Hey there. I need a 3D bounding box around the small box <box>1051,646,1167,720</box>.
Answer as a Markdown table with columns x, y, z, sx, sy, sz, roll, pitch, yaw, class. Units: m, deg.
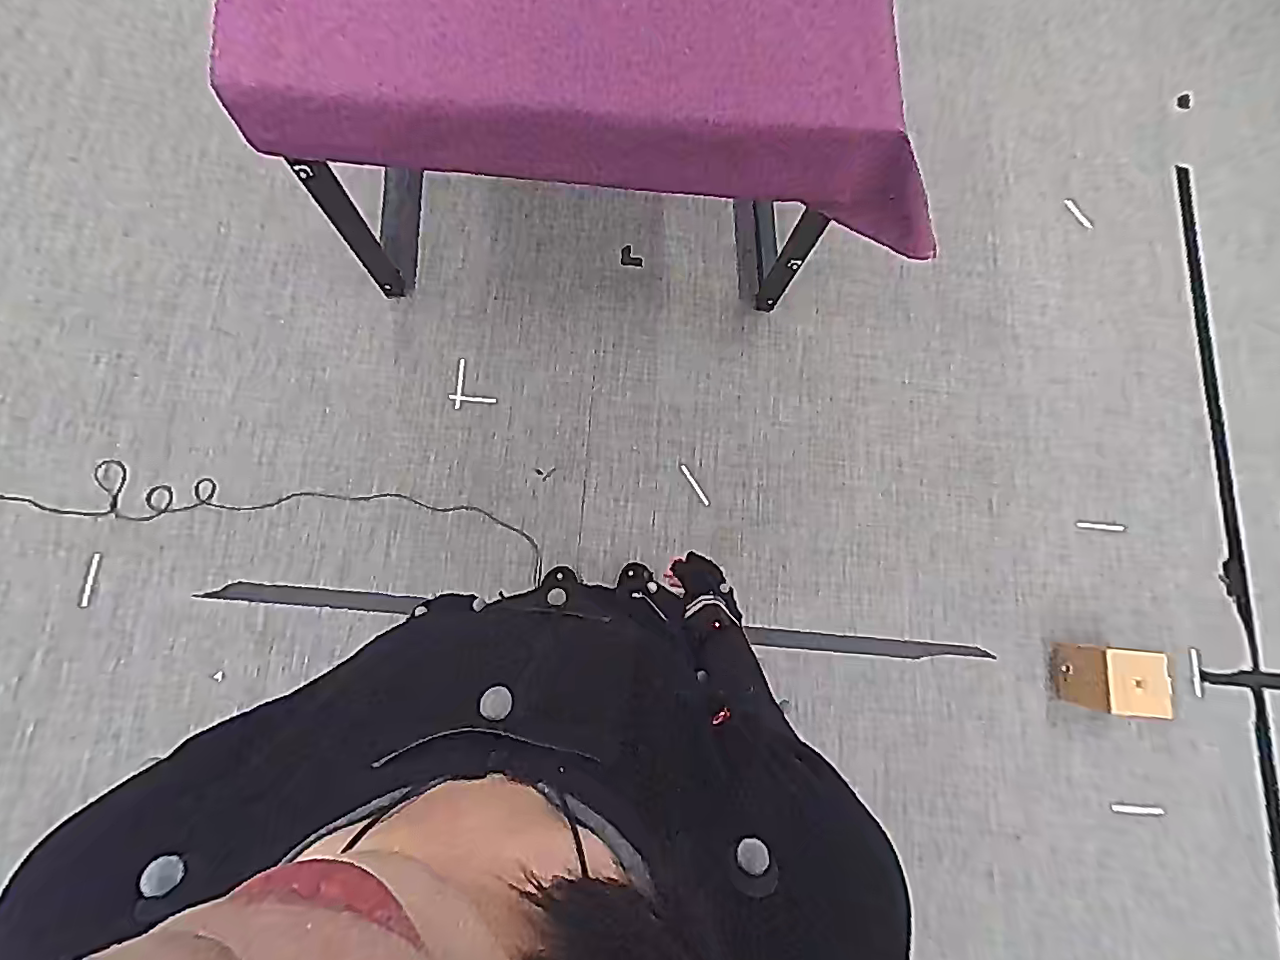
| x | y | z | sx | sy | sz | roll | pitch | yaw | class |
| --- | --- | --- | --- | --- | --- | --- | --- | --- | --- |
| 1.301 | 0.559 | 1.508 | 0.179 | 0.176 | 0.168 | 5 | 78 | -3 | small box |
